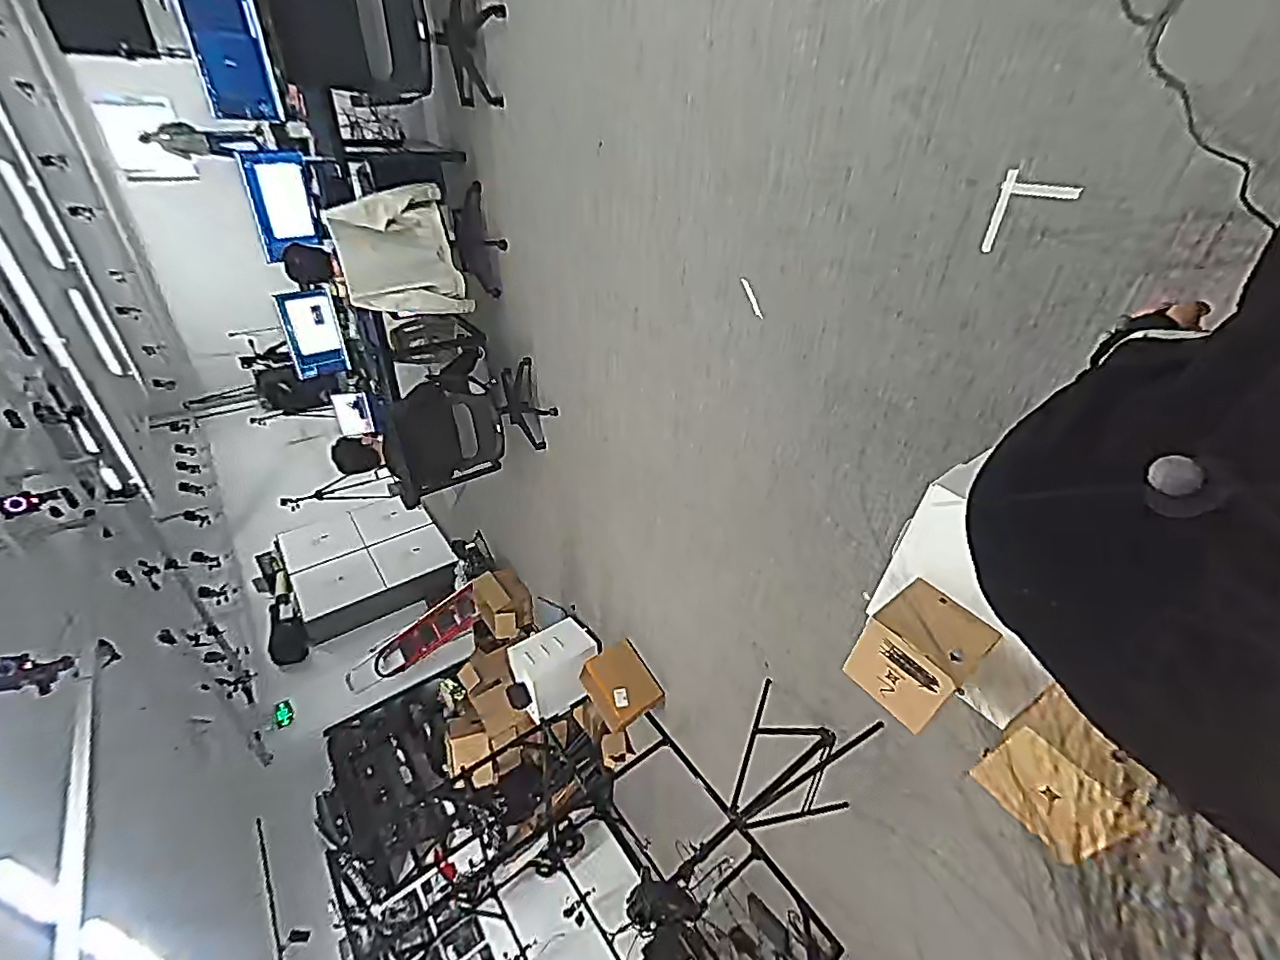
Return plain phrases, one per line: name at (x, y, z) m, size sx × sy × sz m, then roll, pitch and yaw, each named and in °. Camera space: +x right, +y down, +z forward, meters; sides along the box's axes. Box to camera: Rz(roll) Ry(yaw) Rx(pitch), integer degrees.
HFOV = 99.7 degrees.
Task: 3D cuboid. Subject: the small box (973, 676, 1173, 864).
small box at (0.678, 0.446, 0.850) m, size 0.168 × 0.176 × 0.179 m, roll 43°, pitch 141°, yaw 35°
